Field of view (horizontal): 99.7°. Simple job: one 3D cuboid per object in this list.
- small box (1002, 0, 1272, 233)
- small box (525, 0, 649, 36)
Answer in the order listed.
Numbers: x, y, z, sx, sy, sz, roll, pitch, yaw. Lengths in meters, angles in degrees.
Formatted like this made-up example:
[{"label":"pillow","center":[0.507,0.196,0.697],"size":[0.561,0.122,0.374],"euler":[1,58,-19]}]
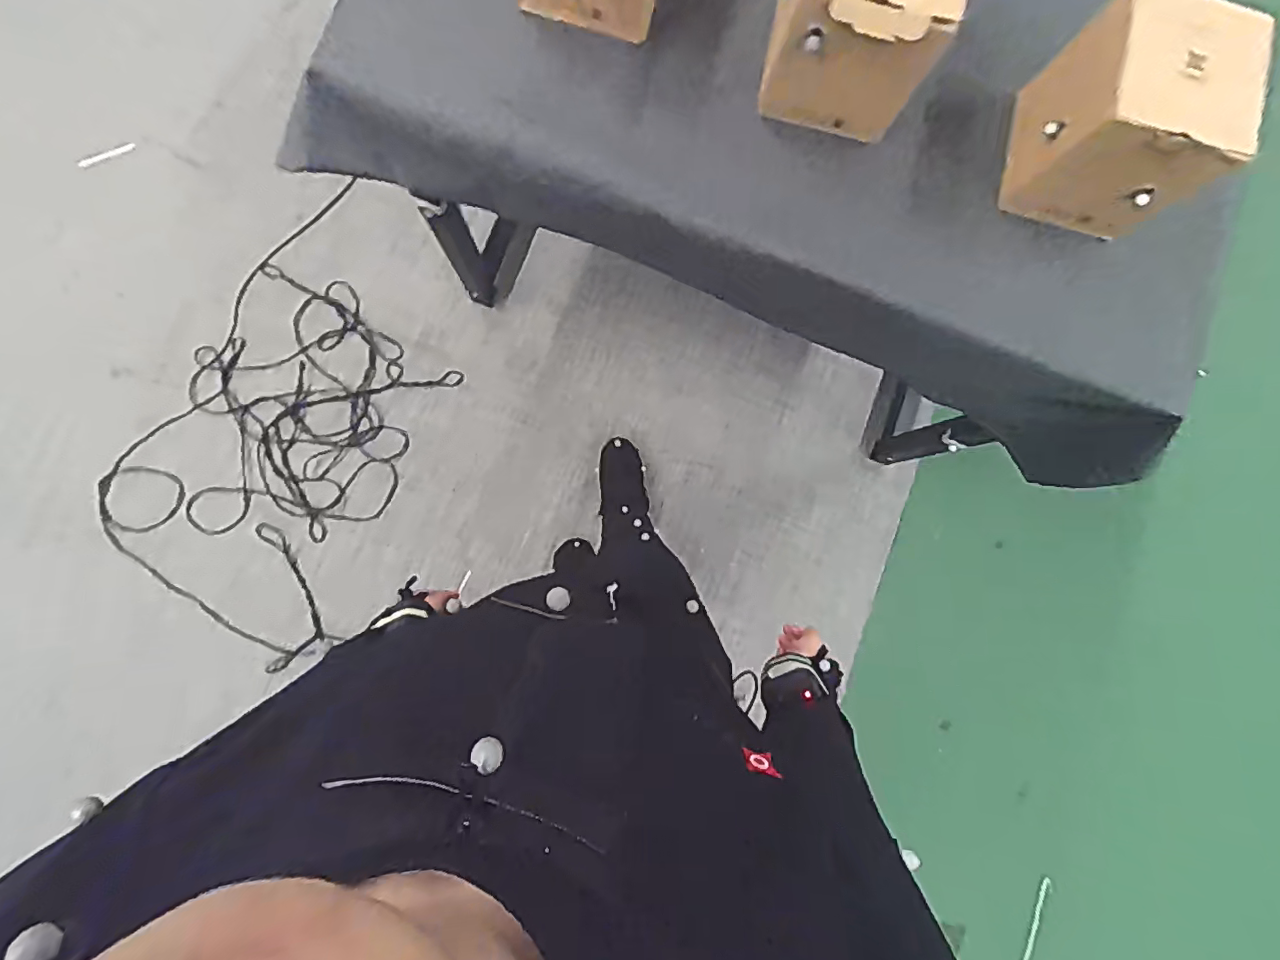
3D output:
[{"label":"small box","center":[0.577,-0.433,0.650],"size":[0.168,0.176,0.179],"euler":[14,83,-5]},{"label":"small box","center":[-0.051,-0.673,0.614],"size":[0.168,0.176,0.179],"euler":[14,85,-4]}]
